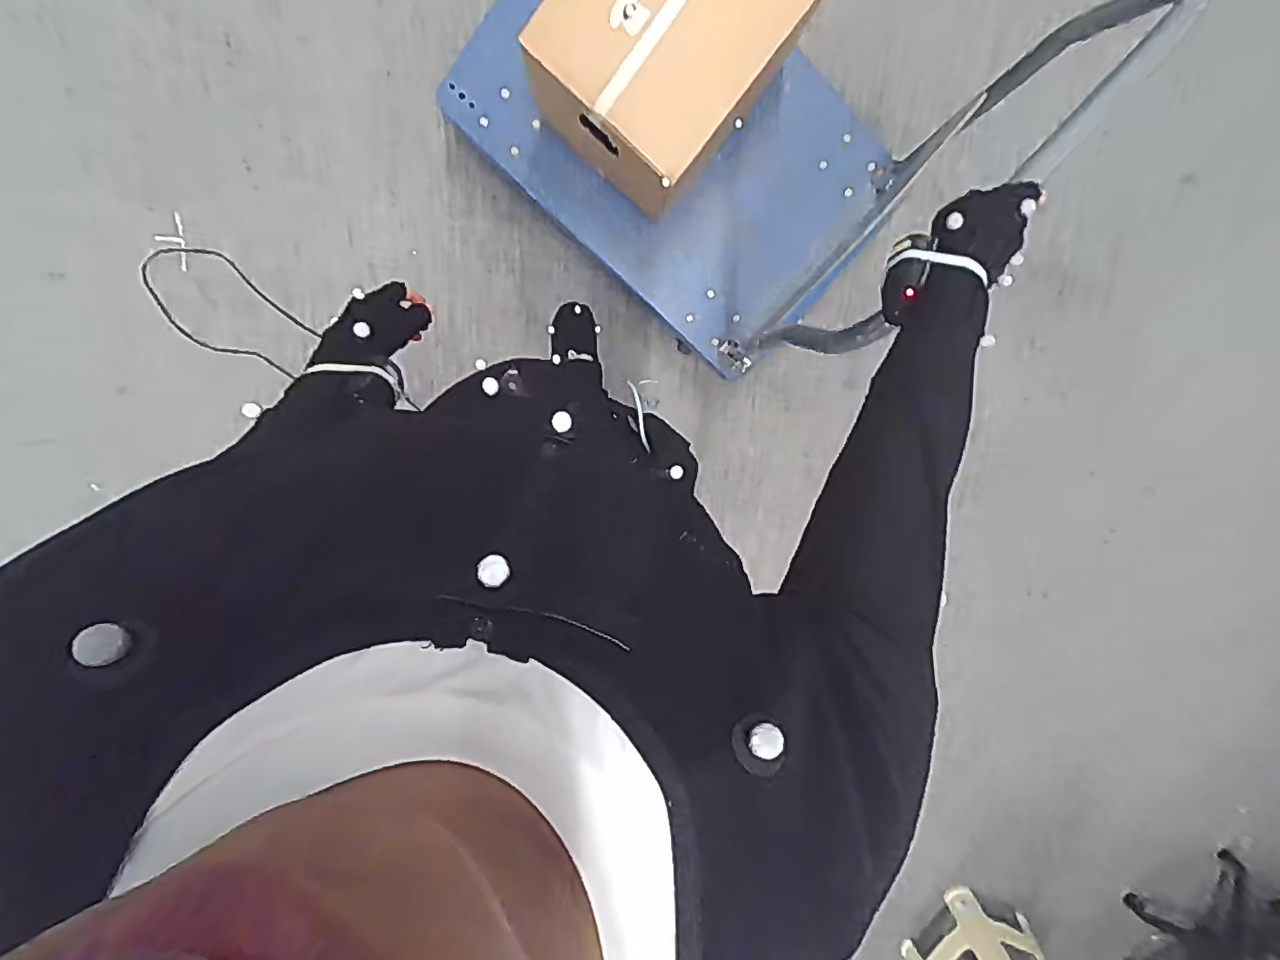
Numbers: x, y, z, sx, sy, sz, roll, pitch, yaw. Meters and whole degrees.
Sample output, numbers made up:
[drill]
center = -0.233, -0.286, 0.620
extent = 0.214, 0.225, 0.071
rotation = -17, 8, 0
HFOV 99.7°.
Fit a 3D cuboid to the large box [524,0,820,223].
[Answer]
[large box]
center = 0.055, -0.753, 0.965
extent = 0.320, 0.320, 0.408
rotation = 39, 100, -10
